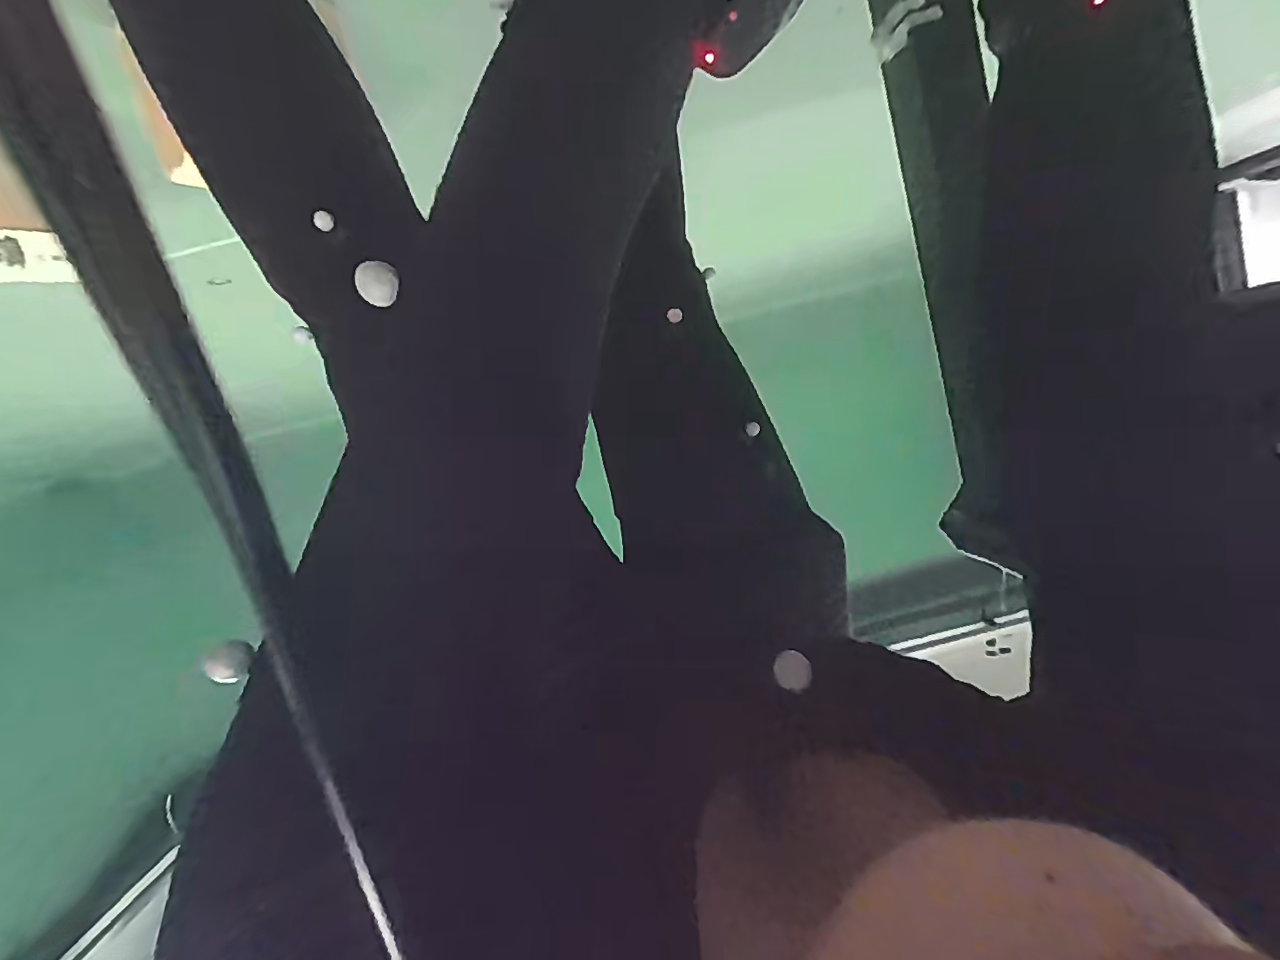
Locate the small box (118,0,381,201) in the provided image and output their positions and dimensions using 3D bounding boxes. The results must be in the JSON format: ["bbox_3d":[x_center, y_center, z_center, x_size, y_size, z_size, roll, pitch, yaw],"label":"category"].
[{"bbox_3d":[-0.445,-0.455,0.626,0.168,0.176,0.179,-10,-172,35],"label":"small box"}]
